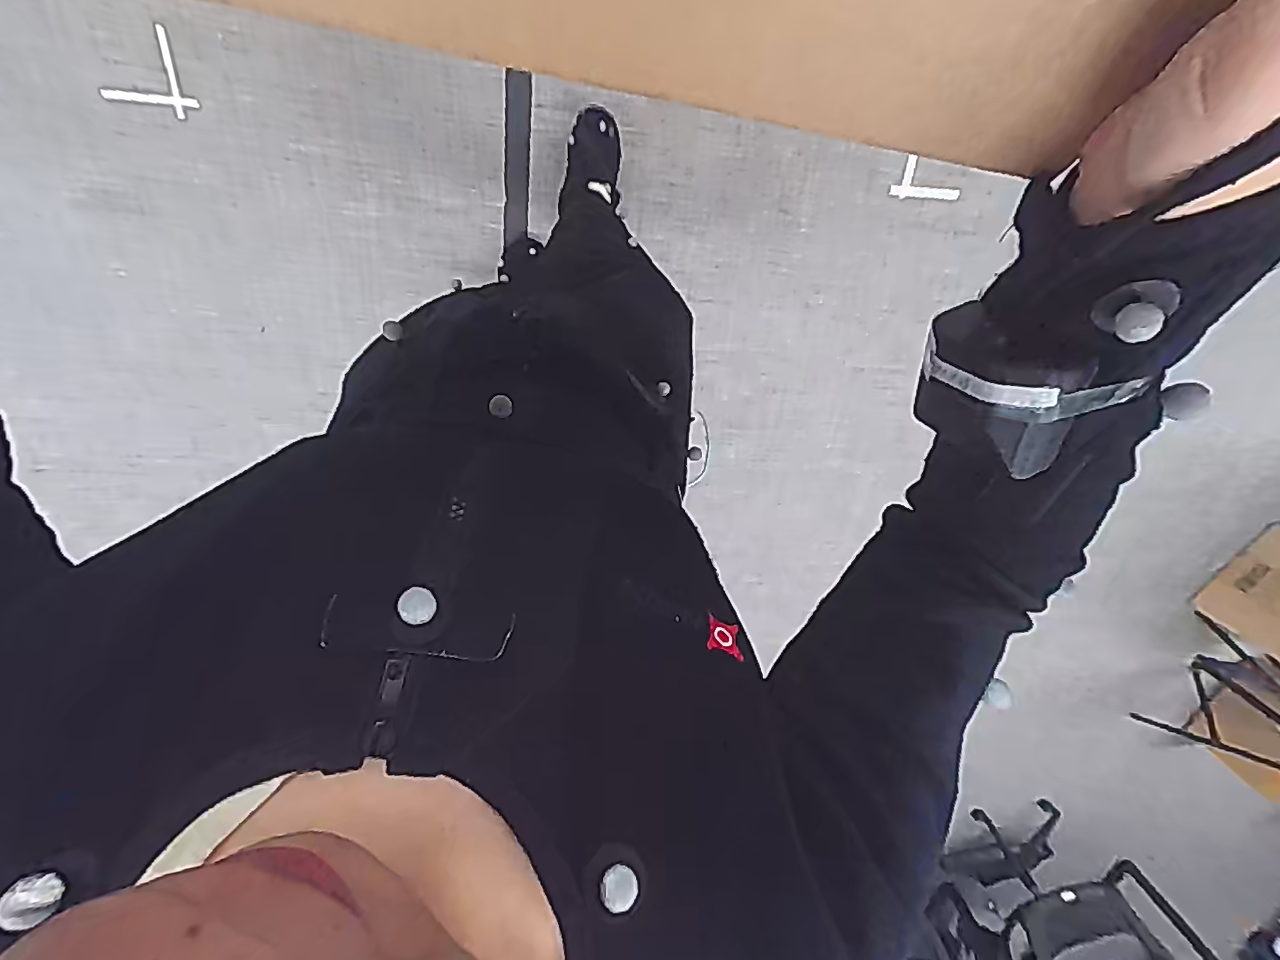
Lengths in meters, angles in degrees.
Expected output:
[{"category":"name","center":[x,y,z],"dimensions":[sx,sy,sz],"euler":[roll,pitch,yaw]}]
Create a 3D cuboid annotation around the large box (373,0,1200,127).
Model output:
[{"category":"large box","center":[-0.011,-0.332,0.077],"dimensions":[0.408,0.320,0.320],"euler":[5,73,-8]}]
